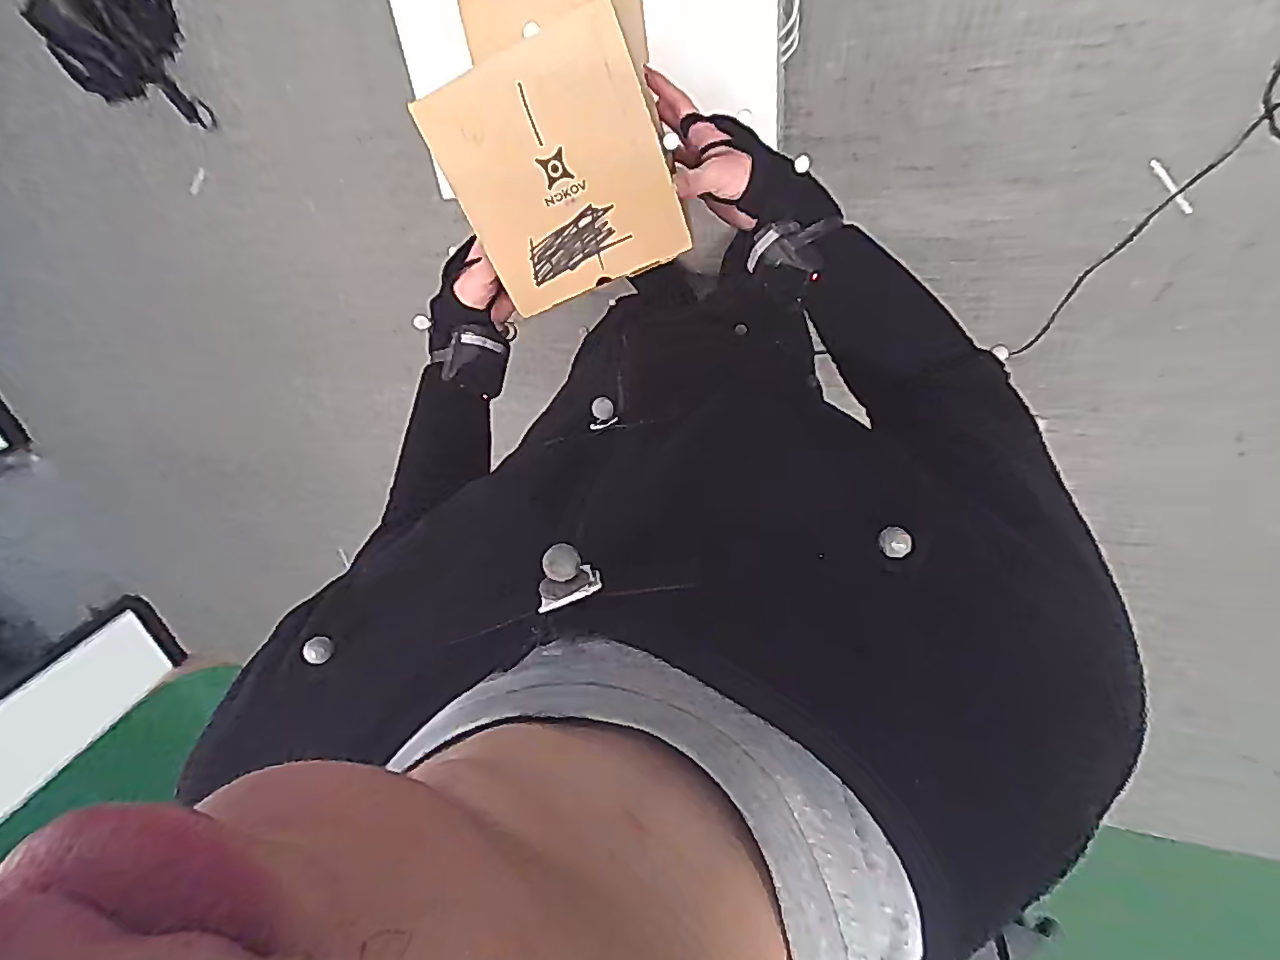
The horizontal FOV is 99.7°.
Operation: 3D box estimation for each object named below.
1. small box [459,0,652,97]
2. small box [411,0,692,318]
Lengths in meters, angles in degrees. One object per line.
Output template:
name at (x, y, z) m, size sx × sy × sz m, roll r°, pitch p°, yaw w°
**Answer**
small box at (-0.084, -0.479, 0.655) m, size 0.168 × 0.176 × 0.179 m, roll -1°, pitch 119°, yaw 17°
small box at (-0.059, -0.280, 0.486) m, size 0.168 × 0.176 × 0.179 m, roll -19°, pitch 123°, yaw 15°
